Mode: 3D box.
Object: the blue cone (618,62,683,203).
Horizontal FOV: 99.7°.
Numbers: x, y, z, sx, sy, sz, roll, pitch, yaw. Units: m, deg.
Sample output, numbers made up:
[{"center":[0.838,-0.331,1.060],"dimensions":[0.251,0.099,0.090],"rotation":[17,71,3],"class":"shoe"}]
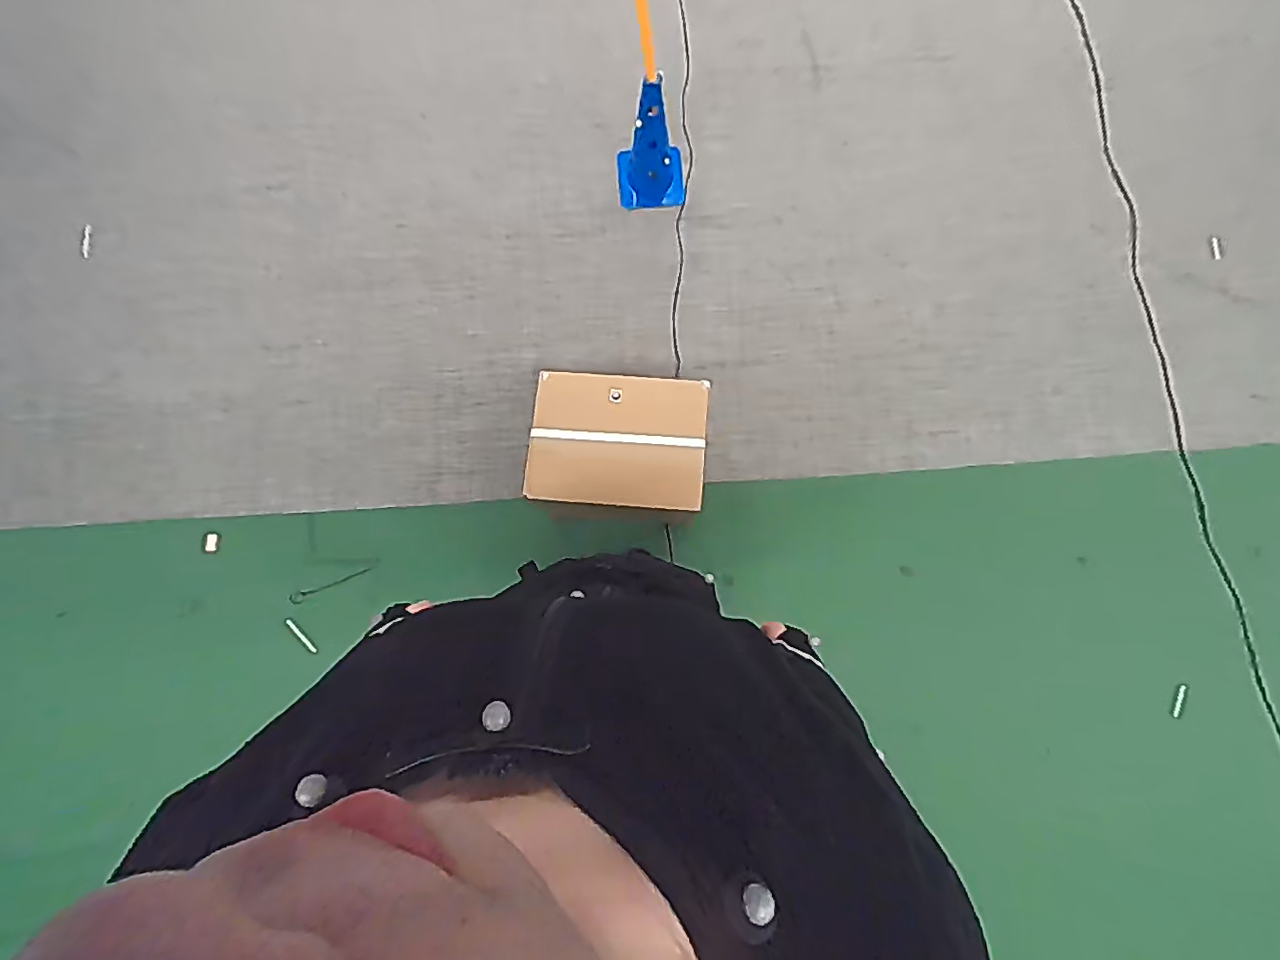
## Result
[{"center":[0.029,-0.965,1.497],"dimensions":[0.193,0.380,0.192],"rotation":[-7,82,1],"class":"blue cone"}]
